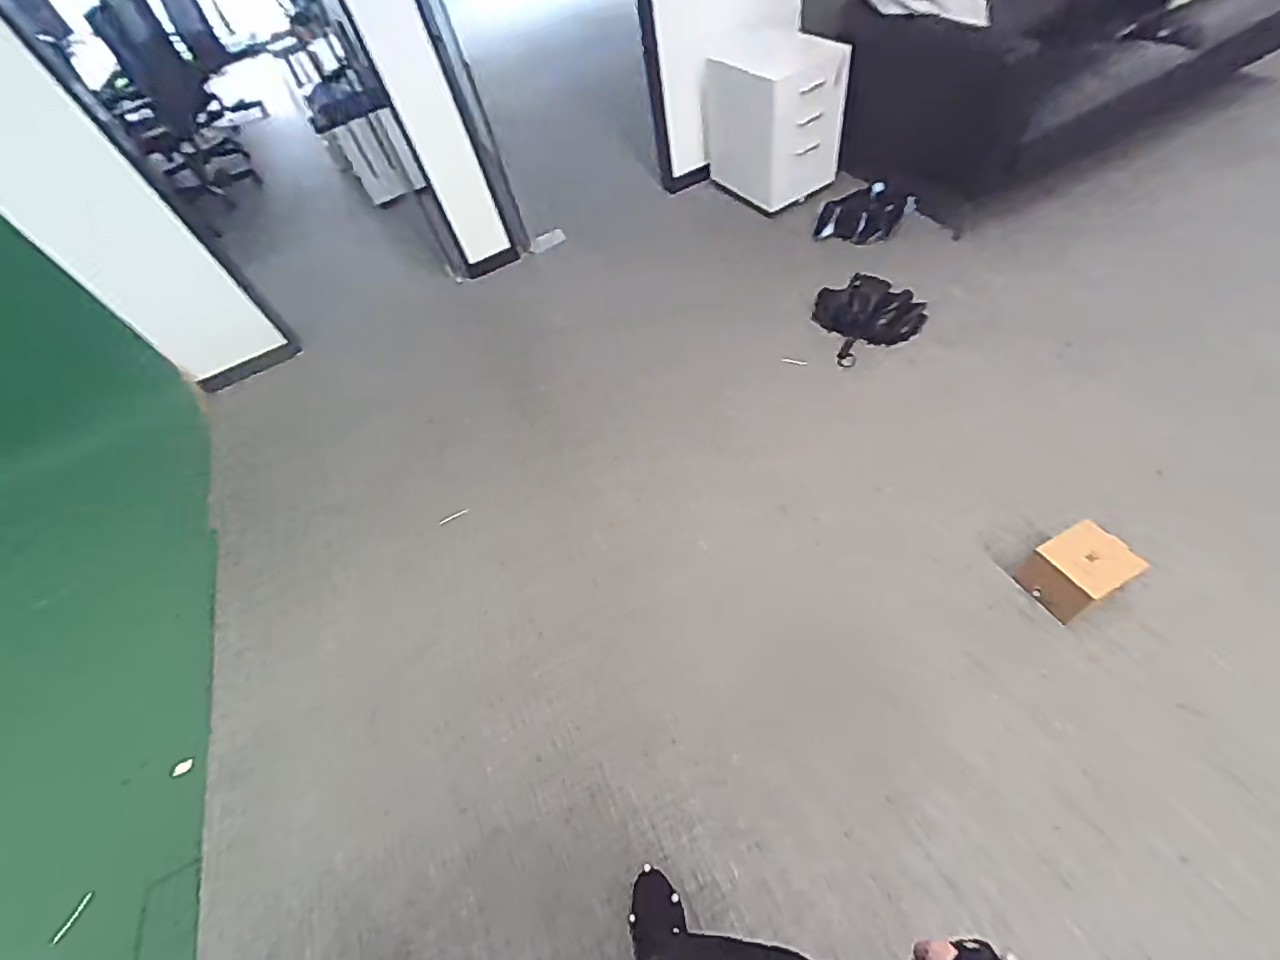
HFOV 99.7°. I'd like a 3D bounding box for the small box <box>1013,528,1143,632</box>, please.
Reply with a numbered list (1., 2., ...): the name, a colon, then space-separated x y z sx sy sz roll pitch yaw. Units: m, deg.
1. small box: 1.120 0.262 1.401 0.179 0.176 0.168 -28 52 -8
